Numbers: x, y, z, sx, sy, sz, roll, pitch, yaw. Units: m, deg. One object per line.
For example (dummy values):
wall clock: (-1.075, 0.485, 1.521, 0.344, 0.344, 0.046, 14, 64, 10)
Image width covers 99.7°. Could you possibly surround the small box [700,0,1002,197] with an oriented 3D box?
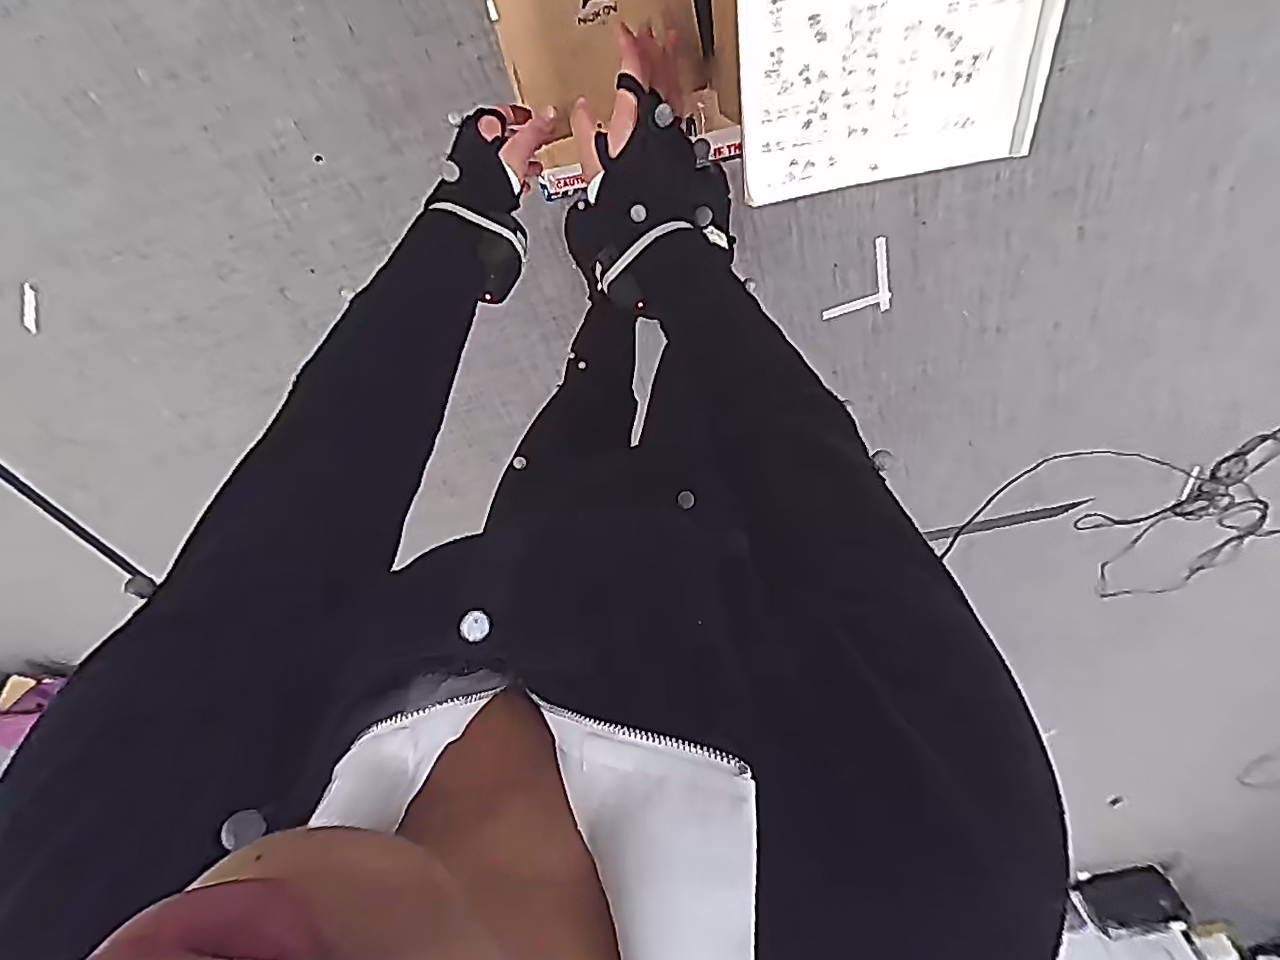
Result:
small box: (0.140, -0.337, 0.404, 0.168, 0.176, 0.179, -10, 130, 3)
